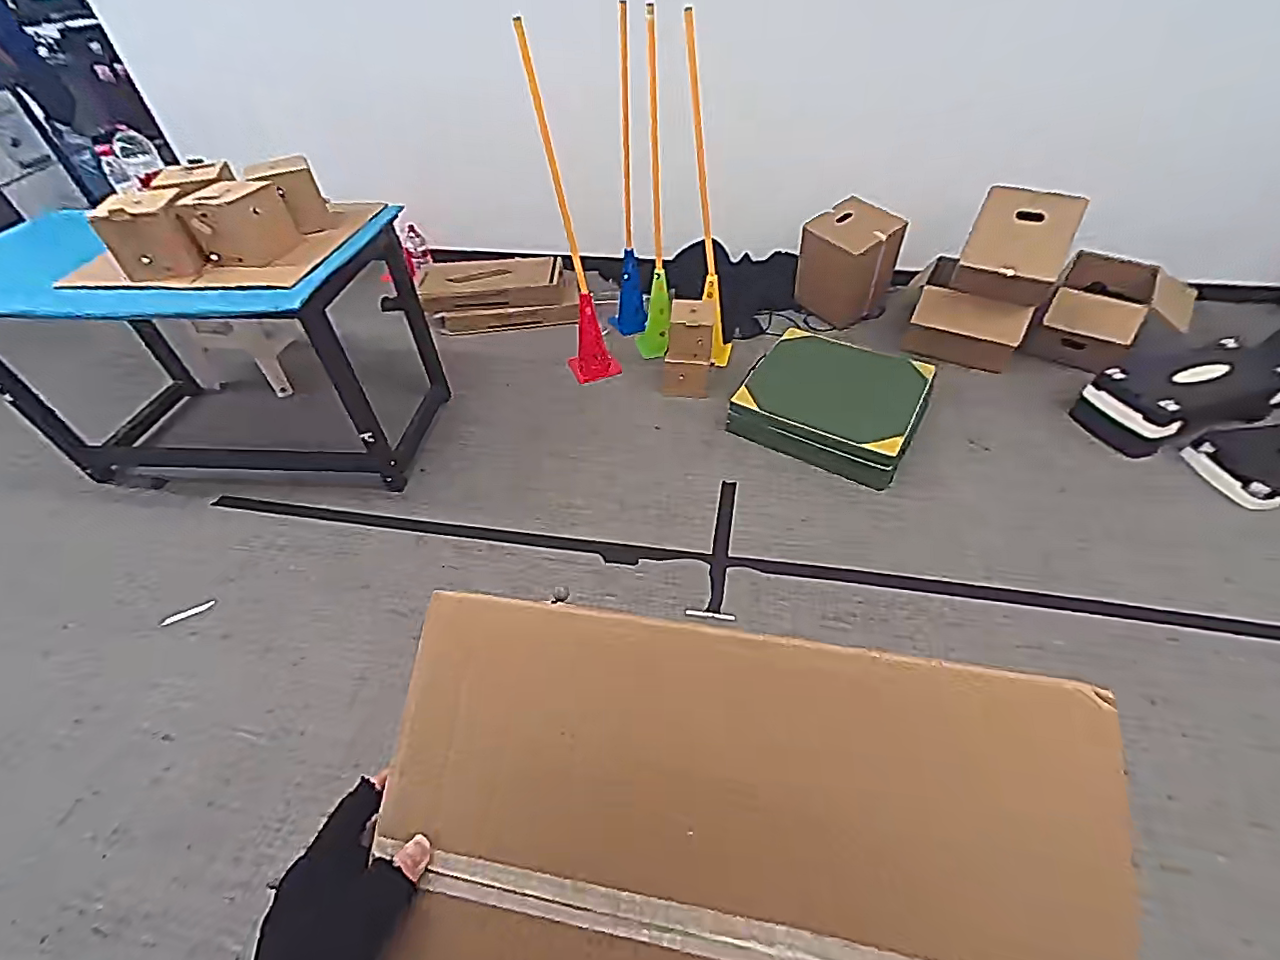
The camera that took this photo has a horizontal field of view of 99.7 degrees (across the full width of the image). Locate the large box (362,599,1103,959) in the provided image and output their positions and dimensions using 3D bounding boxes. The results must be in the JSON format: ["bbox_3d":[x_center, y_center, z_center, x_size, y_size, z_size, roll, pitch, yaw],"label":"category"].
[{"bbox_3d":[0.057,0.285,0.446,0.408,0.320,0.320,5,76,10],"label":"large box"}]
